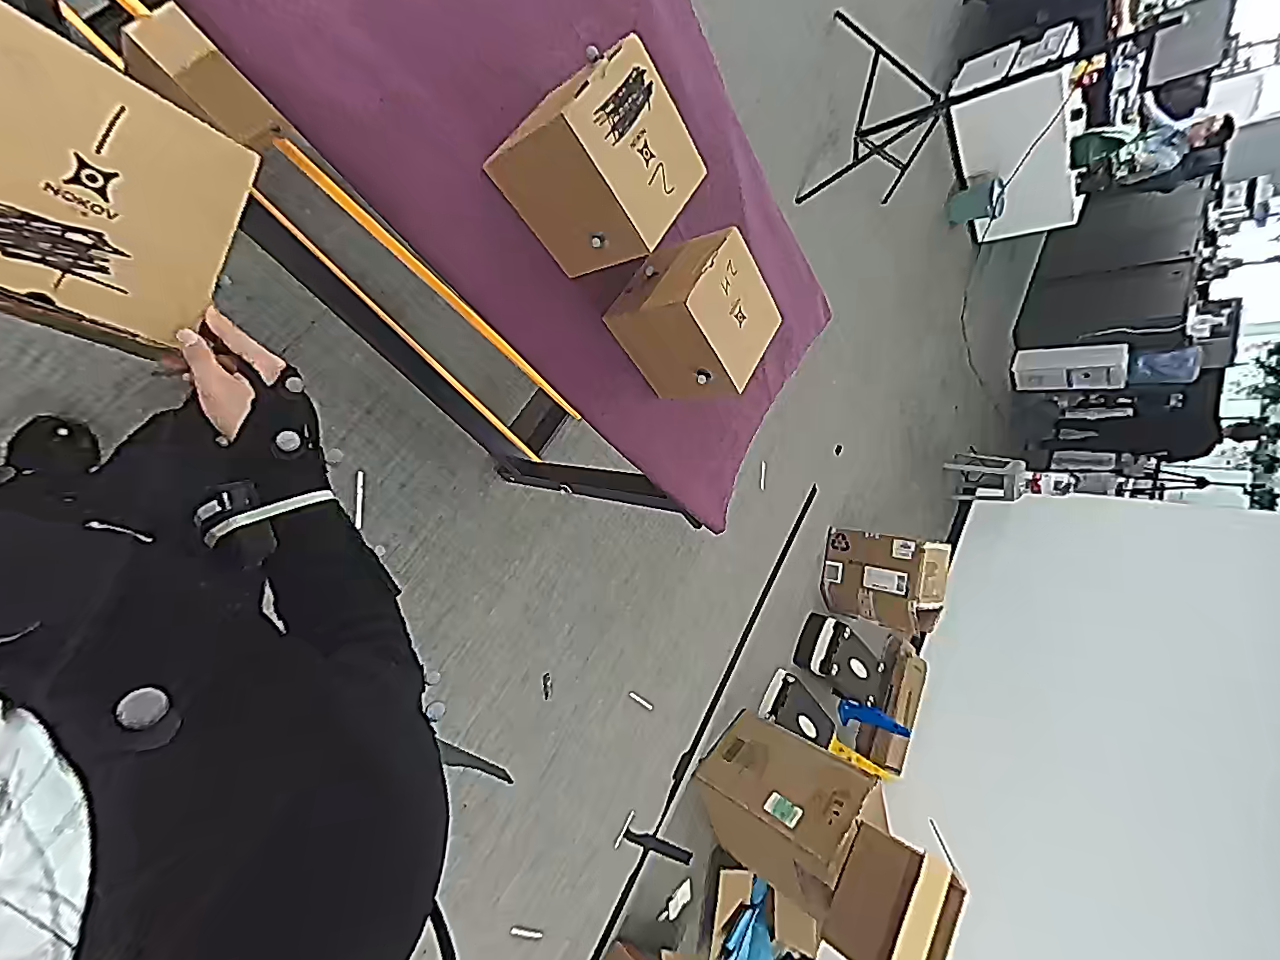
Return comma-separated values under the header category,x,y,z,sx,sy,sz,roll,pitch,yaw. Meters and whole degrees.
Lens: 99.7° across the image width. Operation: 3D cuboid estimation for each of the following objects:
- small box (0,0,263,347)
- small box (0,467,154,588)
category,x,y,z,sx,sy,sz,roll,pitch,yaw
small box,-0.433,-0.215,0.418,0.168,0.176,0.179,22,79,-48
small box,-0.951,0.078,0.897,0.179,0.176,0.168,20,78,-46
